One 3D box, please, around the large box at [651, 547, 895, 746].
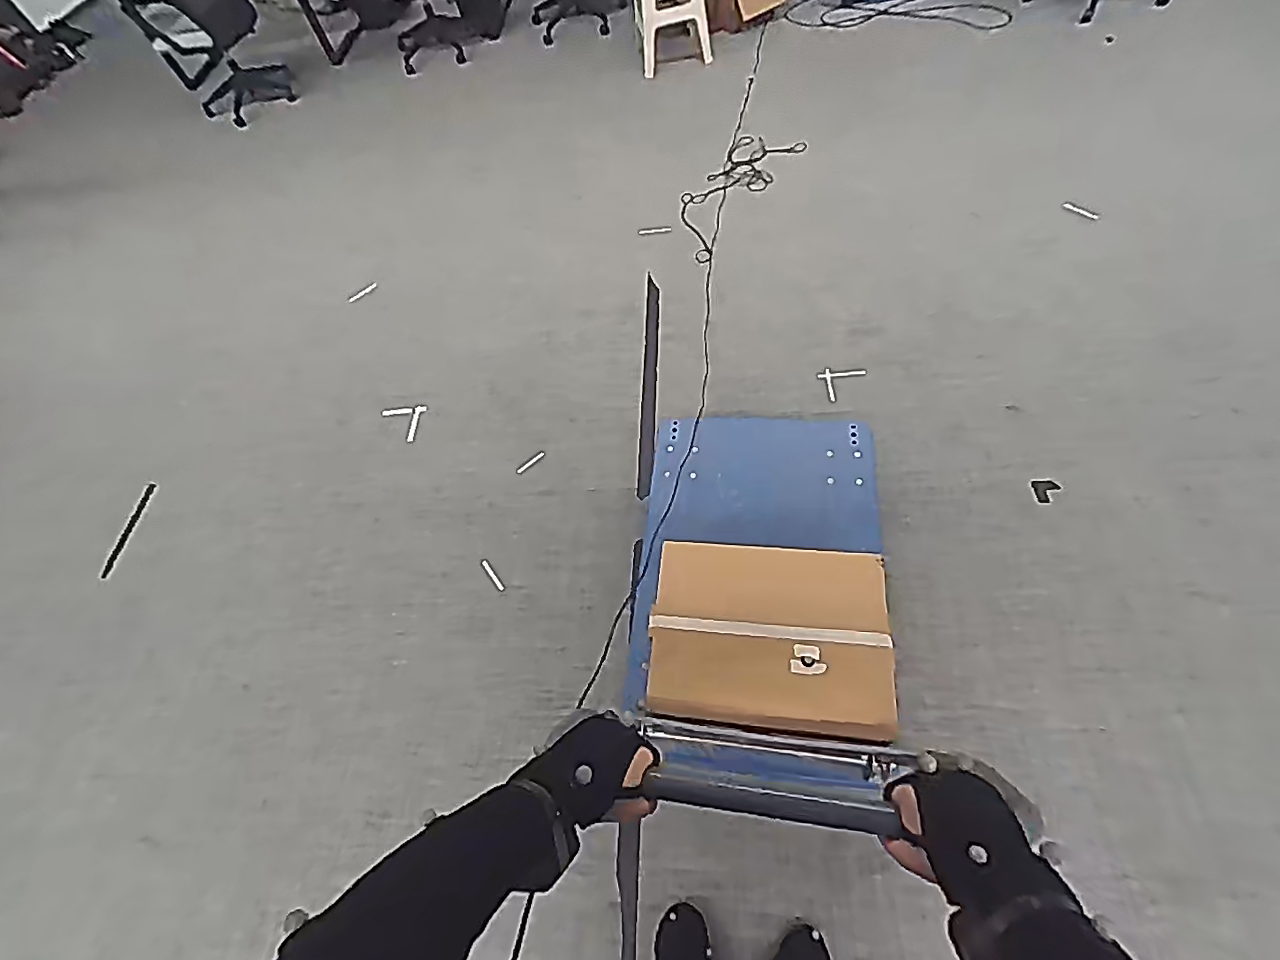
[{"bbox_3d":[0.247,0.342,1.092,0.408,0.320,0.320,2,63,10],"label":"large box"}]
